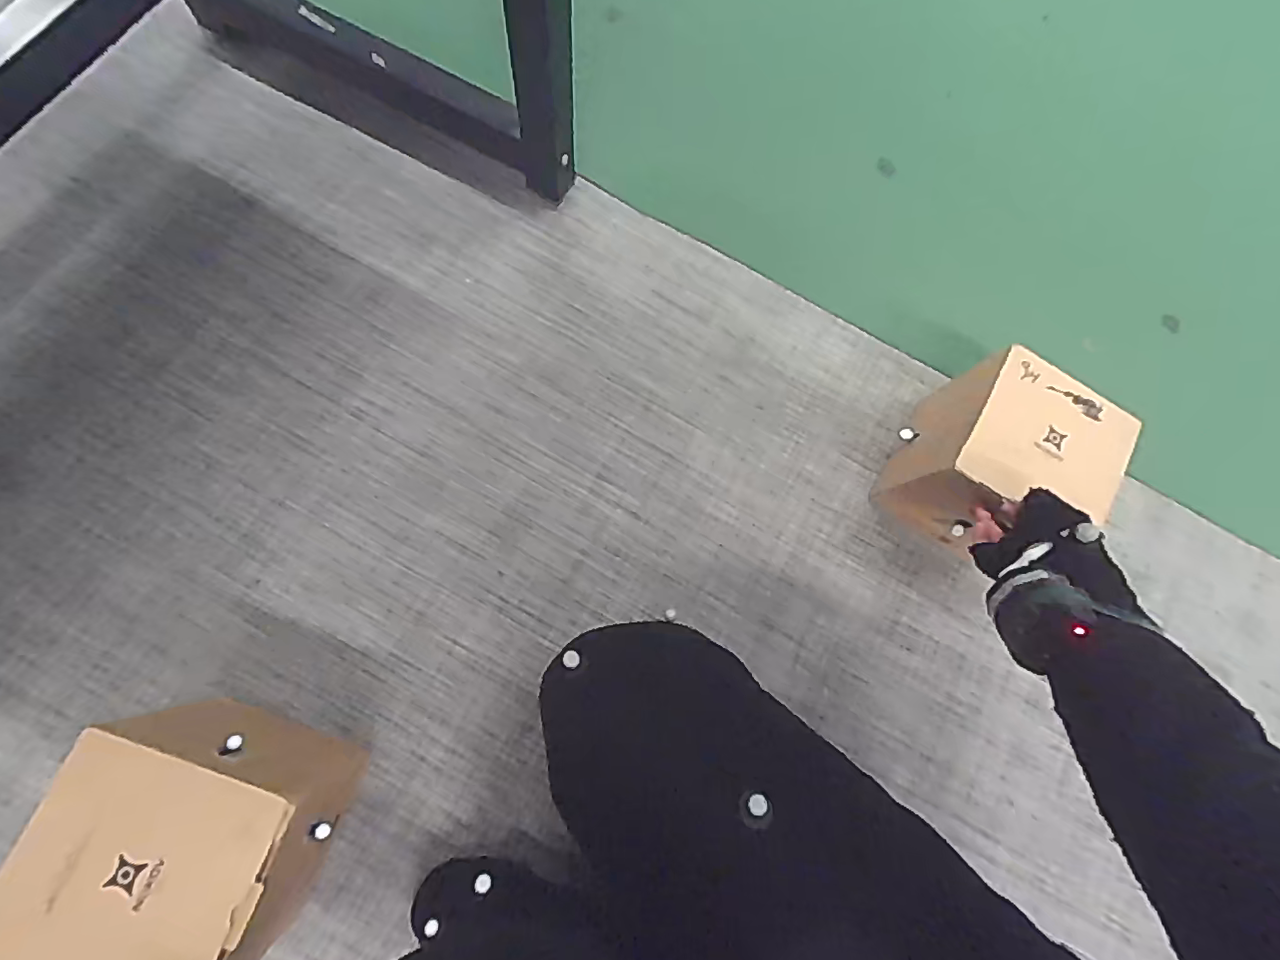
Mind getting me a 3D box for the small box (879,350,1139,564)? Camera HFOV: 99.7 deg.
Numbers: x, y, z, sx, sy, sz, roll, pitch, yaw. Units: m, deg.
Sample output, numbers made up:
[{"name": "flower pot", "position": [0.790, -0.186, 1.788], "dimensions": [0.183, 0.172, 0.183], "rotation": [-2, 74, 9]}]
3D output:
[{"name": "small box", "position": [0.423, -0.014, 0.652], "dimensions": [0.168, 0.176, 0.179], "rotation": [35, 76, 2]}]
